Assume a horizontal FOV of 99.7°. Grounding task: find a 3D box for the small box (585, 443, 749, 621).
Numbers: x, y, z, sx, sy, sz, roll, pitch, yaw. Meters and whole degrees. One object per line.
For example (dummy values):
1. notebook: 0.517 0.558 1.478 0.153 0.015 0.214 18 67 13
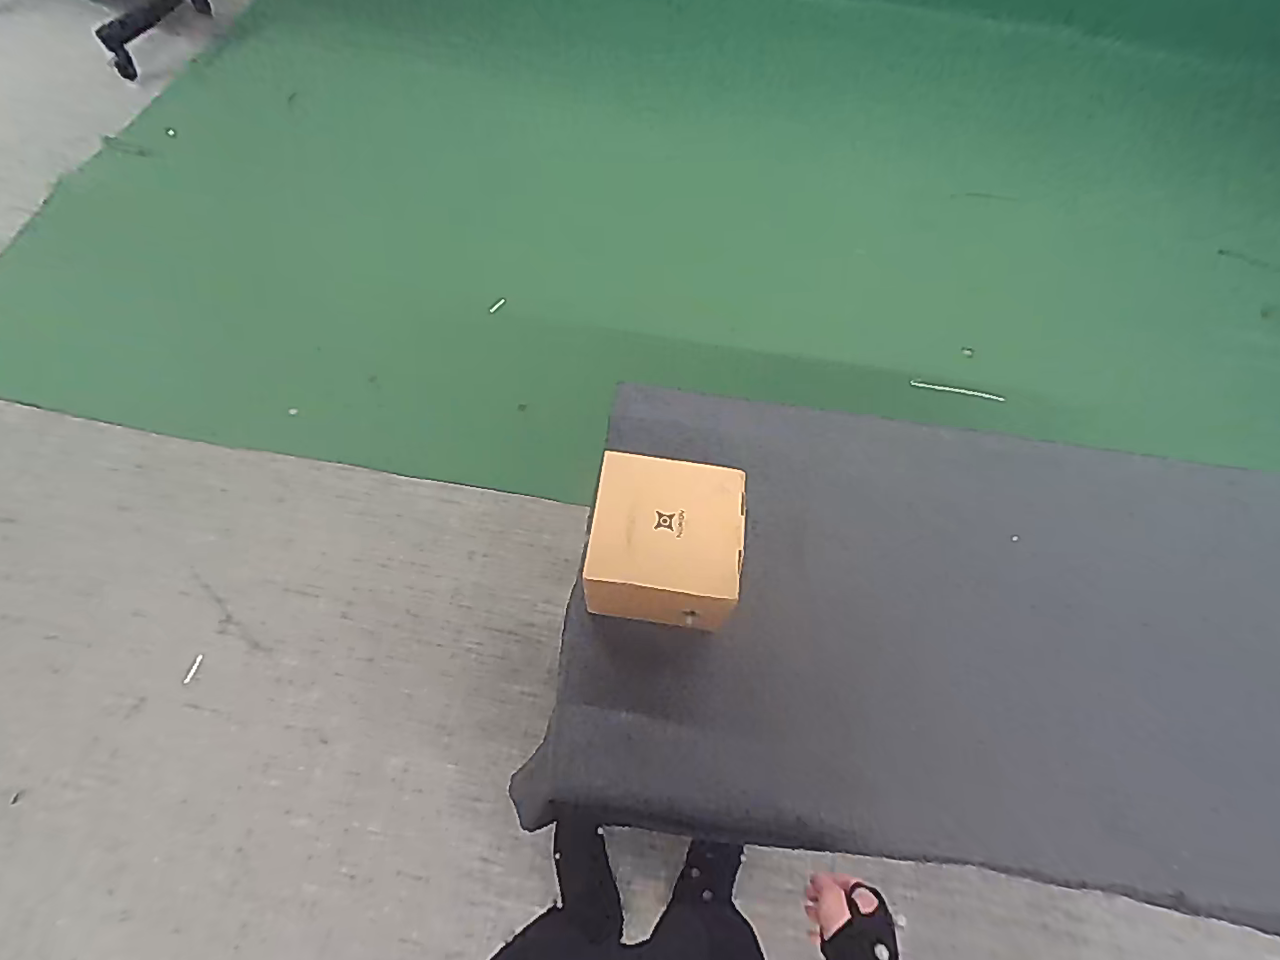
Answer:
1. small box: 0.031 0.075 0.691 0.179 0.176 0.168 8 62 0
